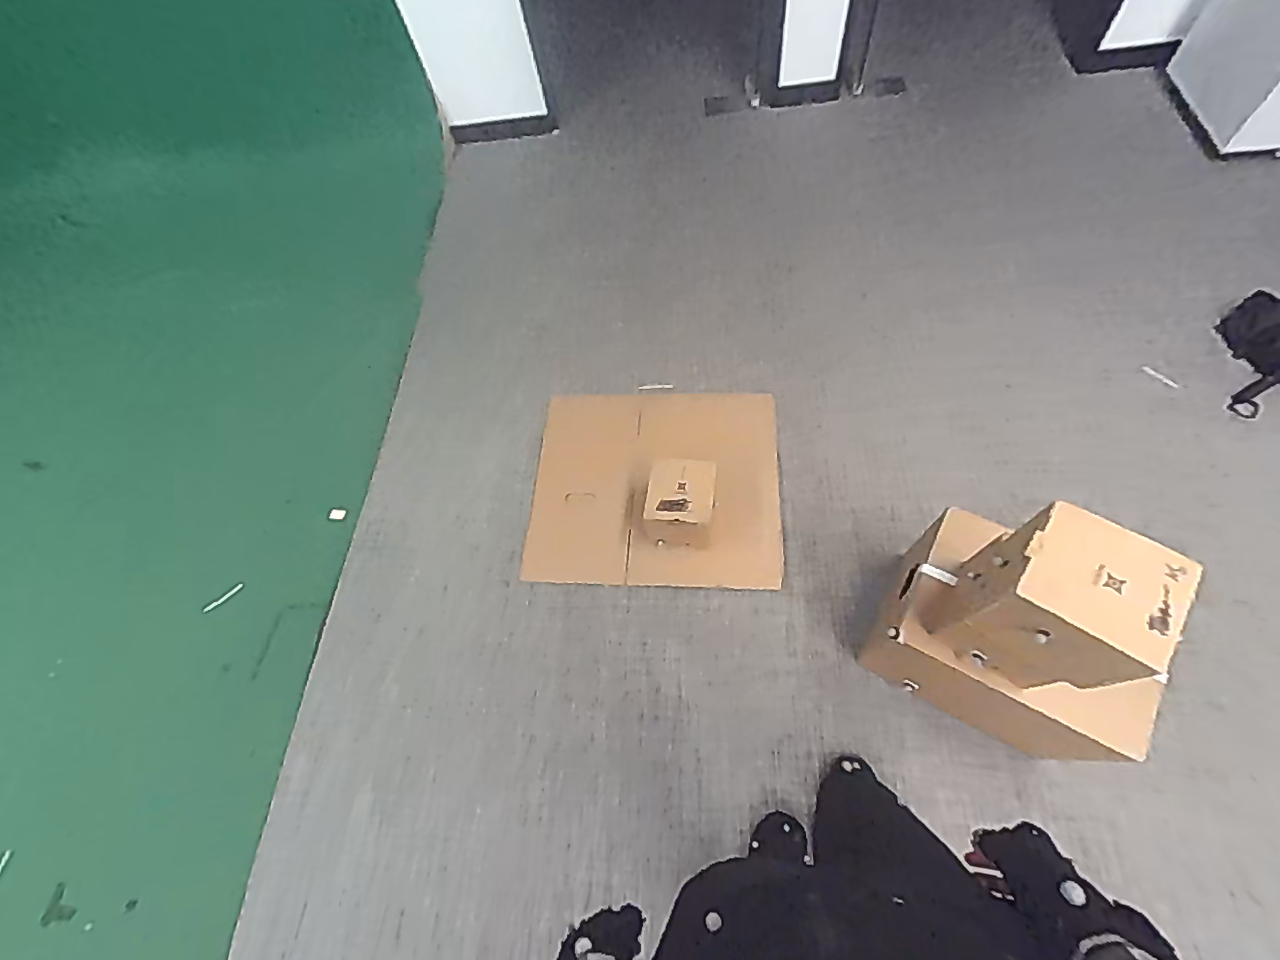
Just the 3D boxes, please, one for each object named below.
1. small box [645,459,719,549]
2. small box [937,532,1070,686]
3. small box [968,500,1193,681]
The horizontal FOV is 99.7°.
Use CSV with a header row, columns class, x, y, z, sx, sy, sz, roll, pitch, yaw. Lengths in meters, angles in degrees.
class,x,y,z,sx,sy,sz,roll,pitch,yaw
small box,0.116,0.067,1.404,0.168,0.176,0.179,5,62,11
small box,0.637,0.224,0.918,0.168,0.176,0.179,28,72,22
small box,0.609,0.163,0.770,0.179,0.176,0.168,29,69,21
